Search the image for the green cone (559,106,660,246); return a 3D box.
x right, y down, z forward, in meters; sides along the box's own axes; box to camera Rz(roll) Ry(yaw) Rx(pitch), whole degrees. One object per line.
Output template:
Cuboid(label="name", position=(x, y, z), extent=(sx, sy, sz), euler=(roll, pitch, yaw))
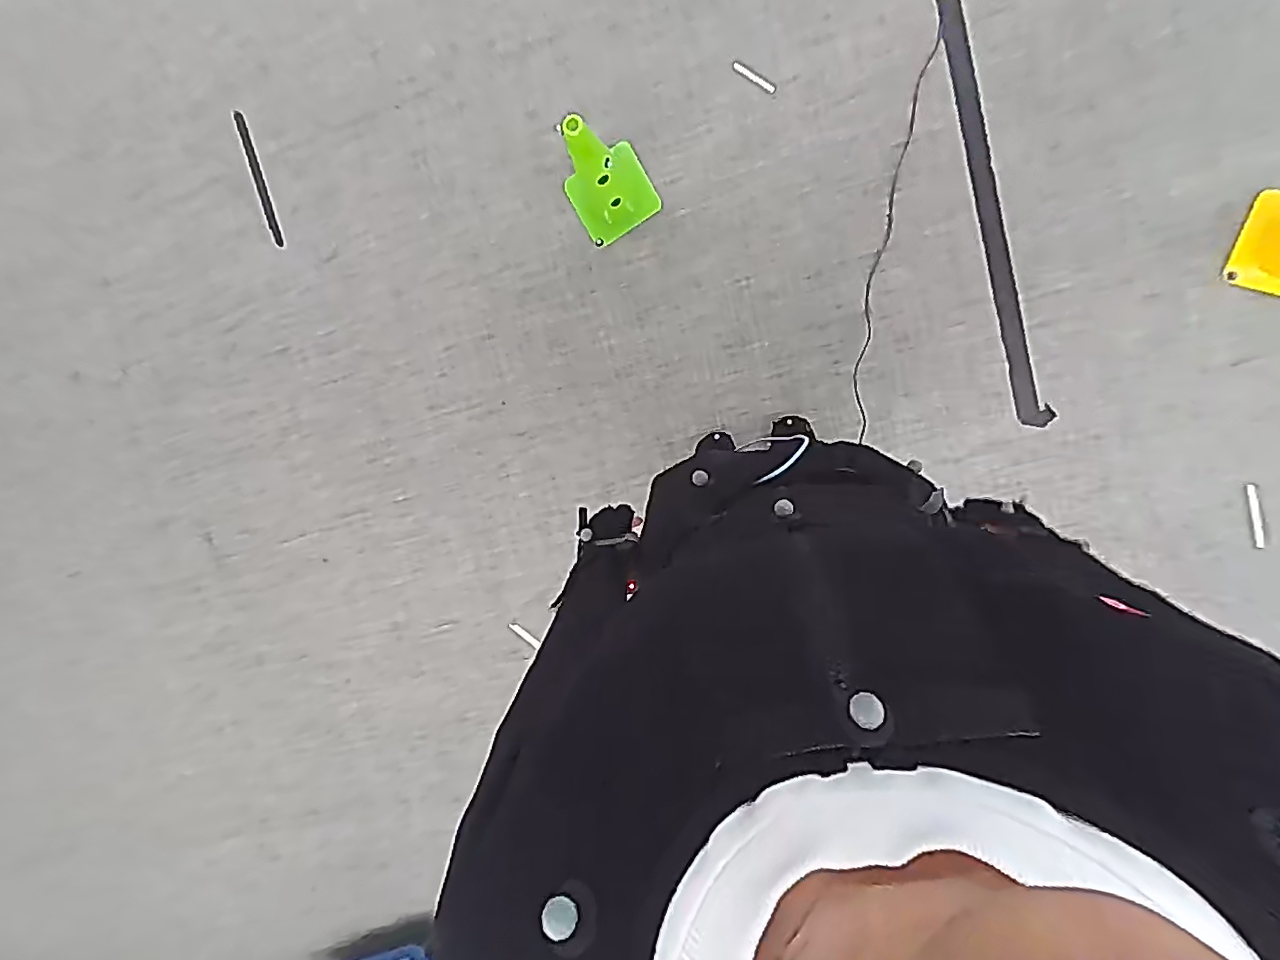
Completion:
Cuboid(label="green cone", position=(-0.101, -0.718, 1.221), extent=(0.200, 0.368, 0.202), euler=(-30, 90, 11))
